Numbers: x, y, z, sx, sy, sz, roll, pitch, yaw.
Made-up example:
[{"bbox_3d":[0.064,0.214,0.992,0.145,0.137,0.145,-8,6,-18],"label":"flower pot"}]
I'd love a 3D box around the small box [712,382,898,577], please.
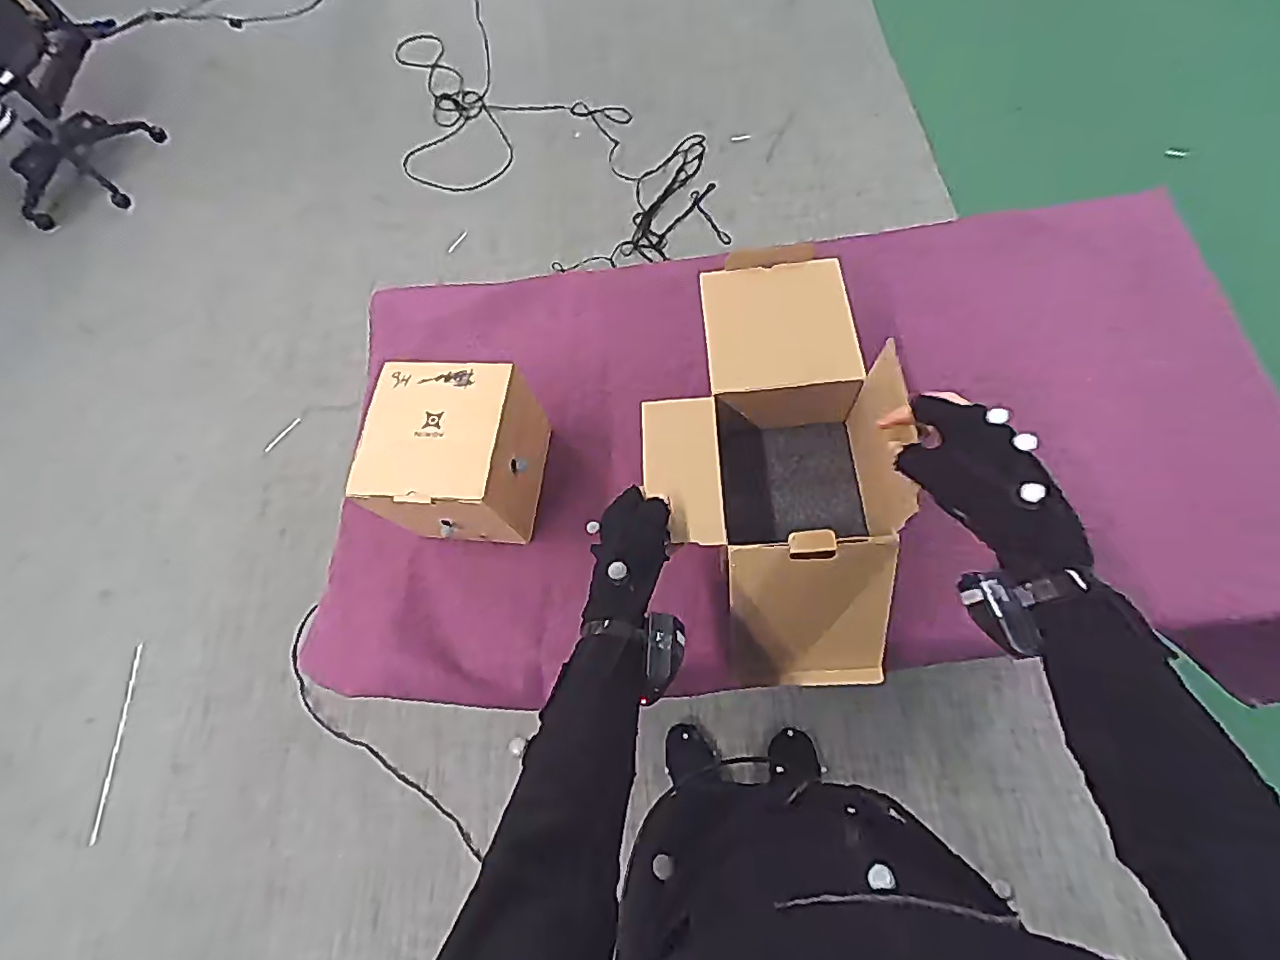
[{"bbox_3d":[0.173,0.011,0.621,0.168,0.176,0.179,-4,67,6],"label":"small box"}]

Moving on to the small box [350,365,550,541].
[{"bbox_3d":[-0.224,-0.027,0.689,0.168,0.176,0.179,3,69,9],"label":"small box"}]
